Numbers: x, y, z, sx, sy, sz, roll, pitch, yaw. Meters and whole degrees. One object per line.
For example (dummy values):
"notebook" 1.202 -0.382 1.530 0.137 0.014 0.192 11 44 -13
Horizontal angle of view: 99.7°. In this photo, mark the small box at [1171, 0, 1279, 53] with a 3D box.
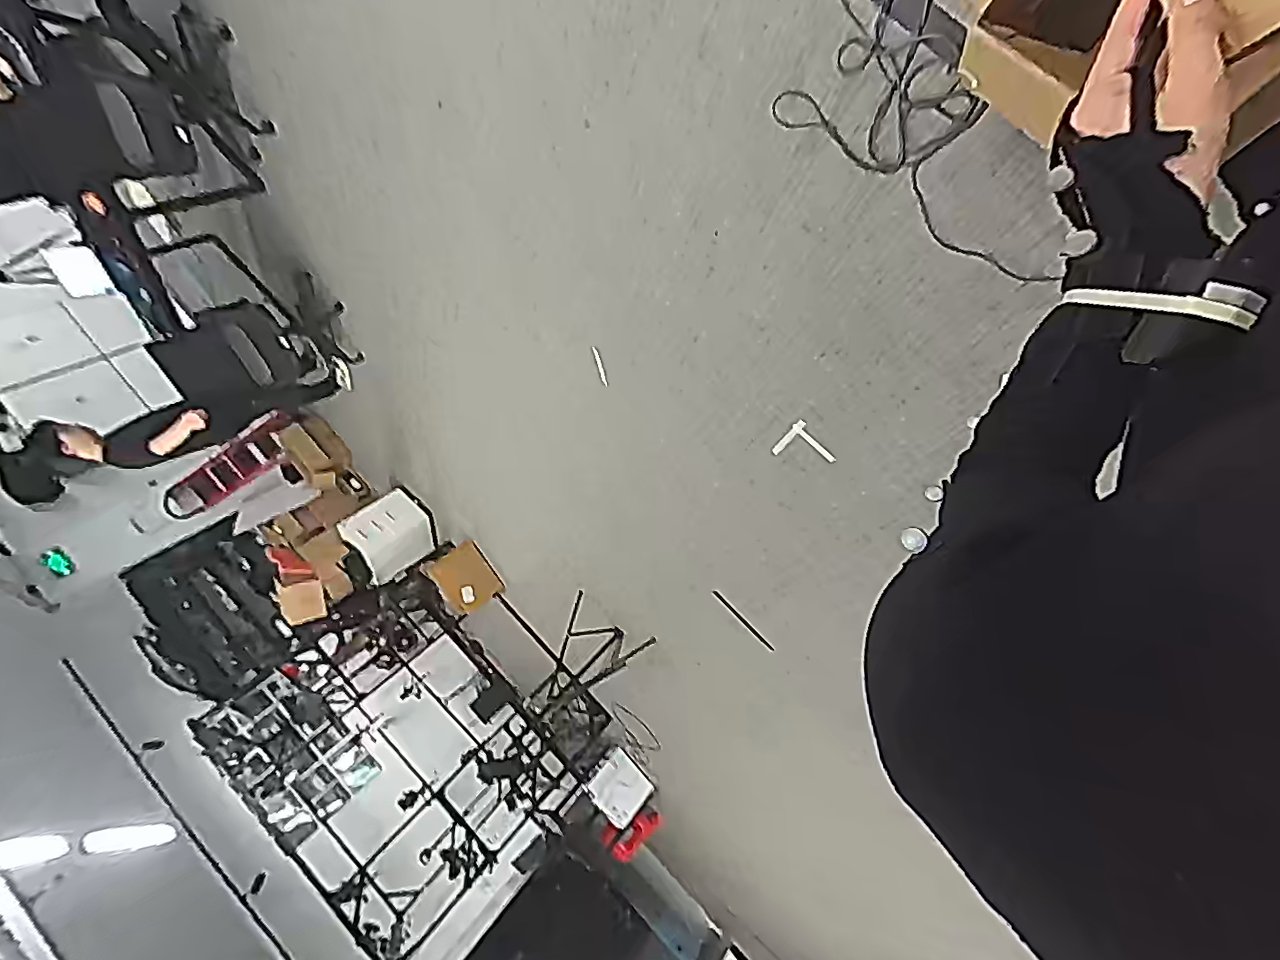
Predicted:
"small box" 0.353 -0.348 0.247 0.179 0.176 0.168 60 154 -5
